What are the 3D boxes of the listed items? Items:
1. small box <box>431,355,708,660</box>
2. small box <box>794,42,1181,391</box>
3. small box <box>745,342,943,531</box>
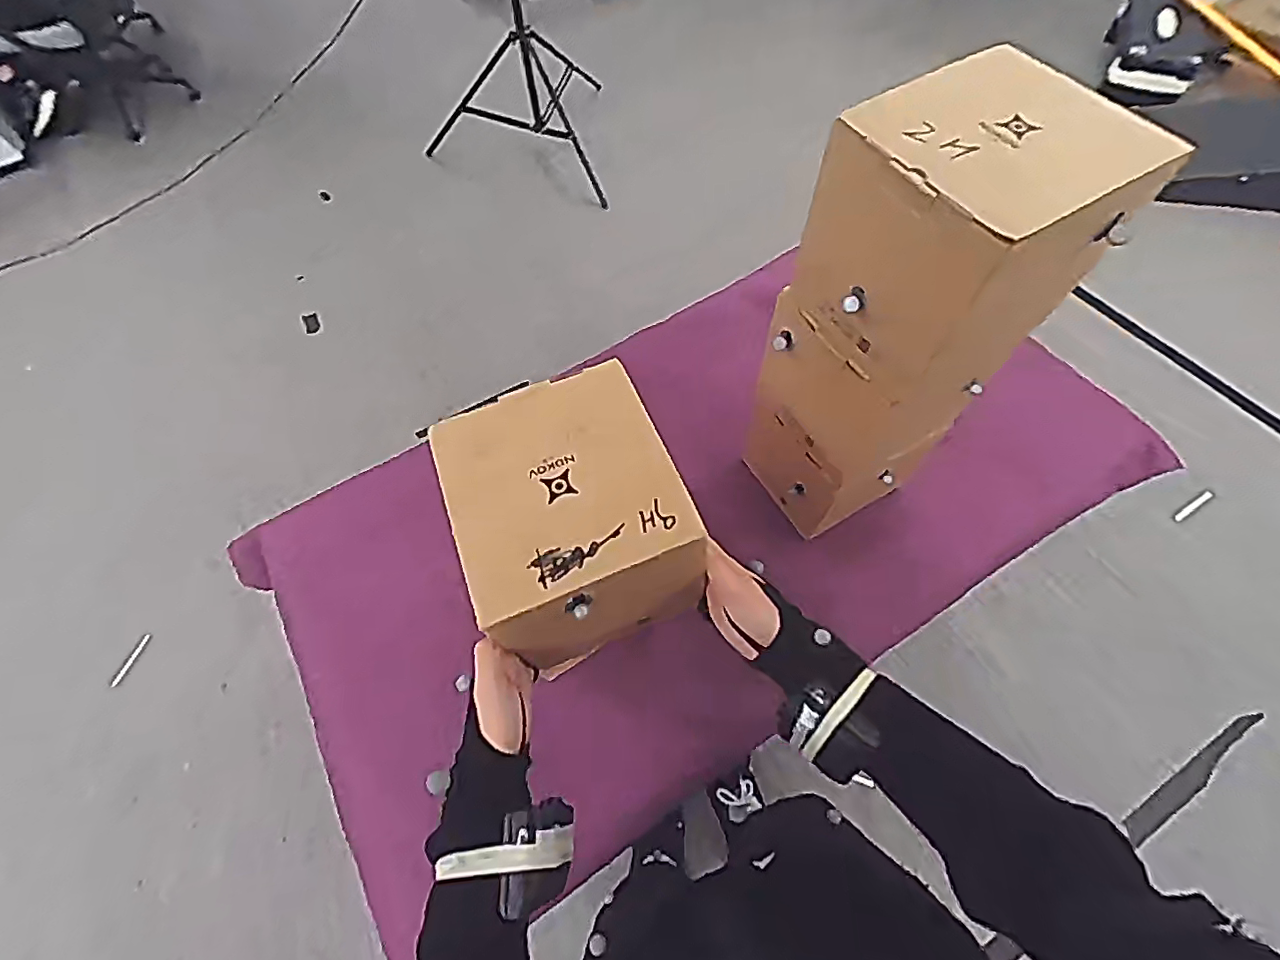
[{"bbox_3d":[-0.054,0.032,0.464,0.168,0.176,0.179,-22,62,-6],"label":"small box"},{"bbox_3d":[0.256,-0.209,0.450,0.179,0.176,0.168,-29,65,-11],"label":"small box"},{"bbox_3d":[0.260,-0.056,0.743,0.179,0.176,0.168,-28,65,-12],"label":"small box"}]
